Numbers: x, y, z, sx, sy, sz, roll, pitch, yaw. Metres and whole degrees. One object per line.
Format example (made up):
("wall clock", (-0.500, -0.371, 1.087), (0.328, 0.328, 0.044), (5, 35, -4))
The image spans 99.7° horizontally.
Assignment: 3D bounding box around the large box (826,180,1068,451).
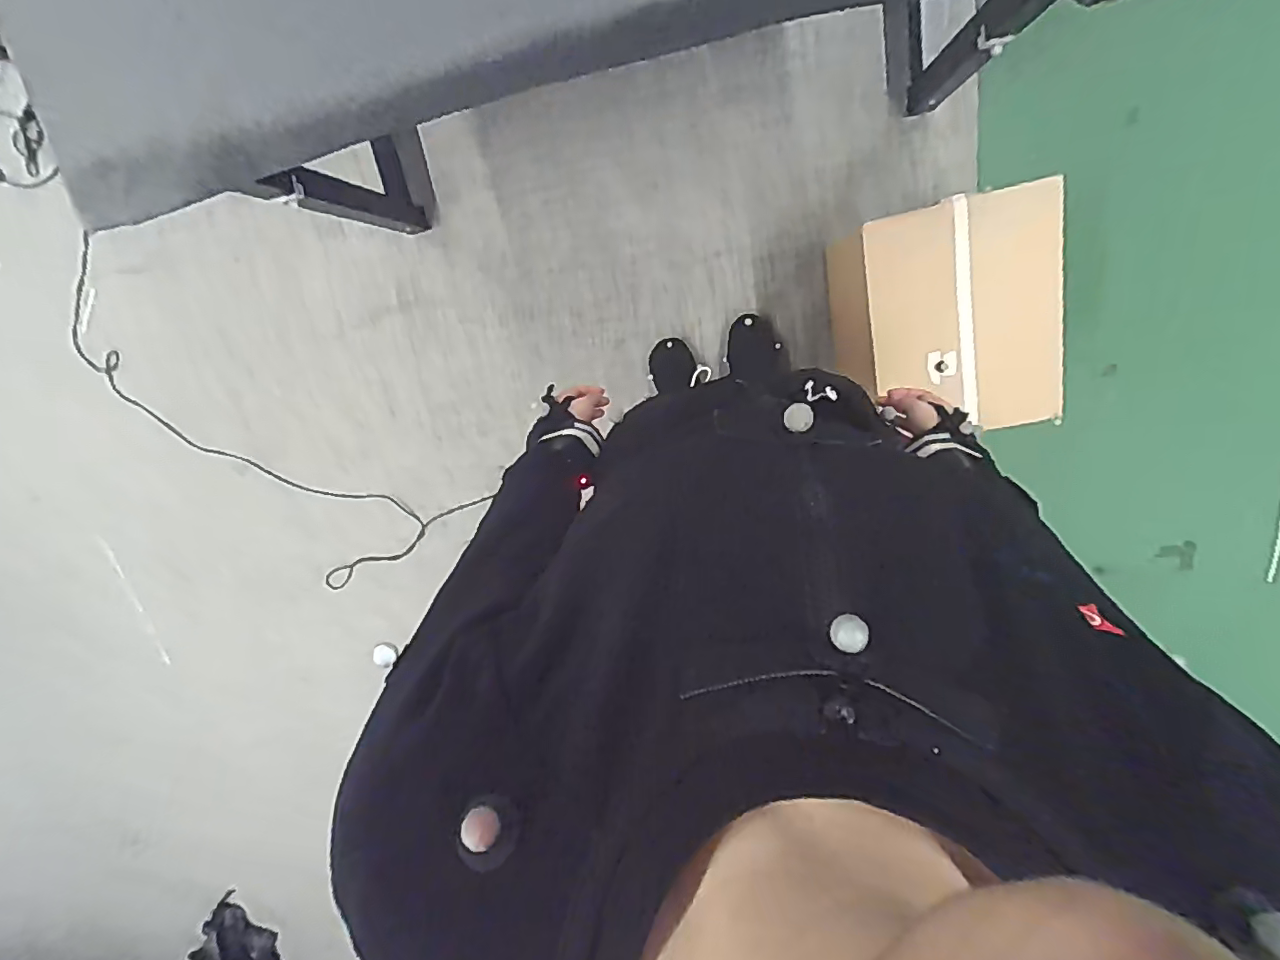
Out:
("large box", (0.587, -0.312, 1.081), (0.320, 0.320, 0.408), (-11, 106, 11))
